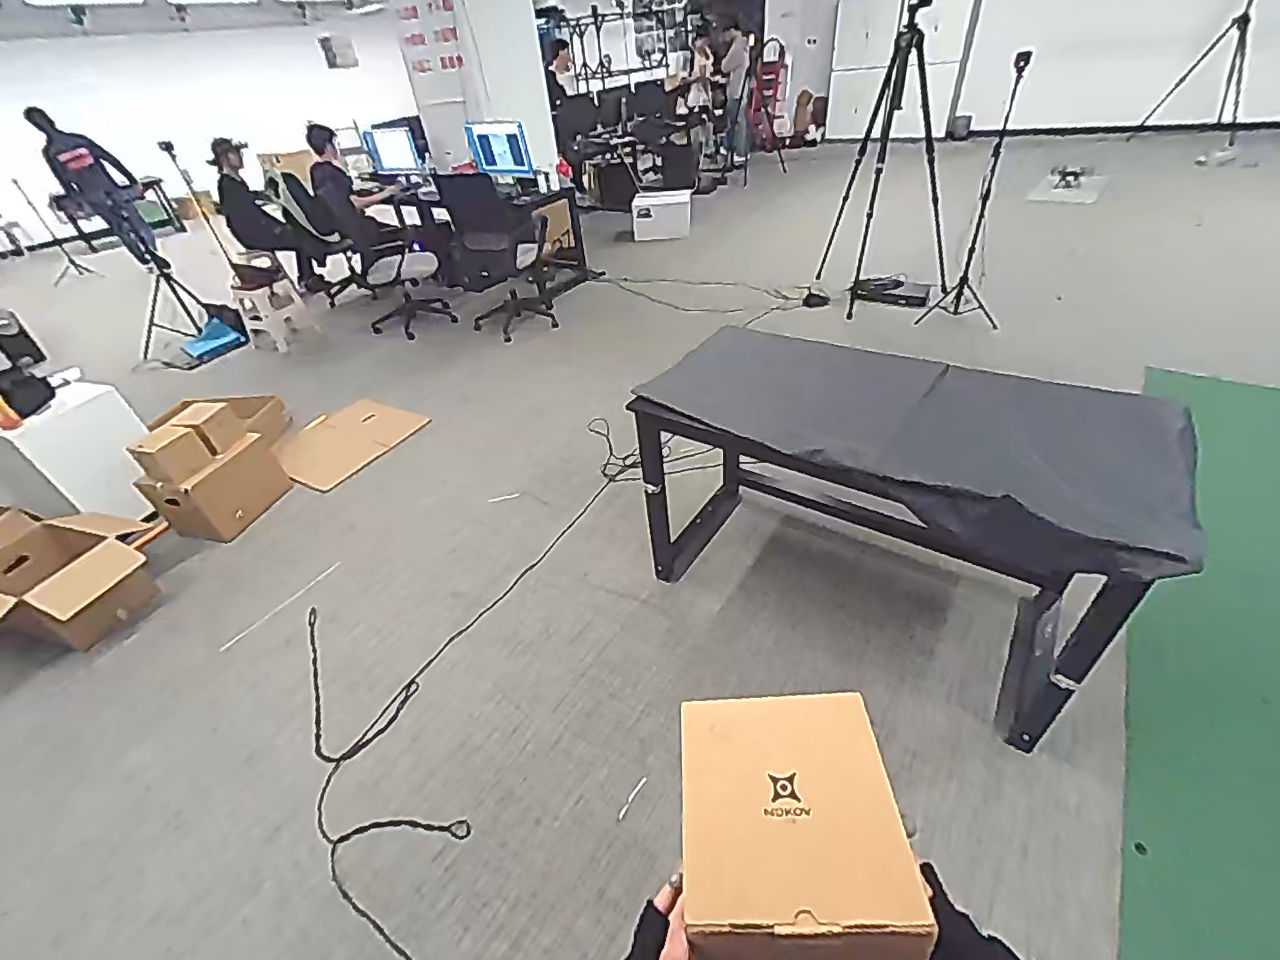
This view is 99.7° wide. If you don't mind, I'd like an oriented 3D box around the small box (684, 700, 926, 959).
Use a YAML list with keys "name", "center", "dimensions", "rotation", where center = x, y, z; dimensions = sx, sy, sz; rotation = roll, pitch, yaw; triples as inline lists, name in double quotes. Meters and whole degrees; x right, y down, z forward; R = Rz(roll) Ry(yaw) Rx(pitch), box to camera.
- name: "small box"
  center: [0.128, 0.325, 0.484]
  dimensions: [0.168, 0.176, 0.179]
  rotation: [-6, 34, 7]
